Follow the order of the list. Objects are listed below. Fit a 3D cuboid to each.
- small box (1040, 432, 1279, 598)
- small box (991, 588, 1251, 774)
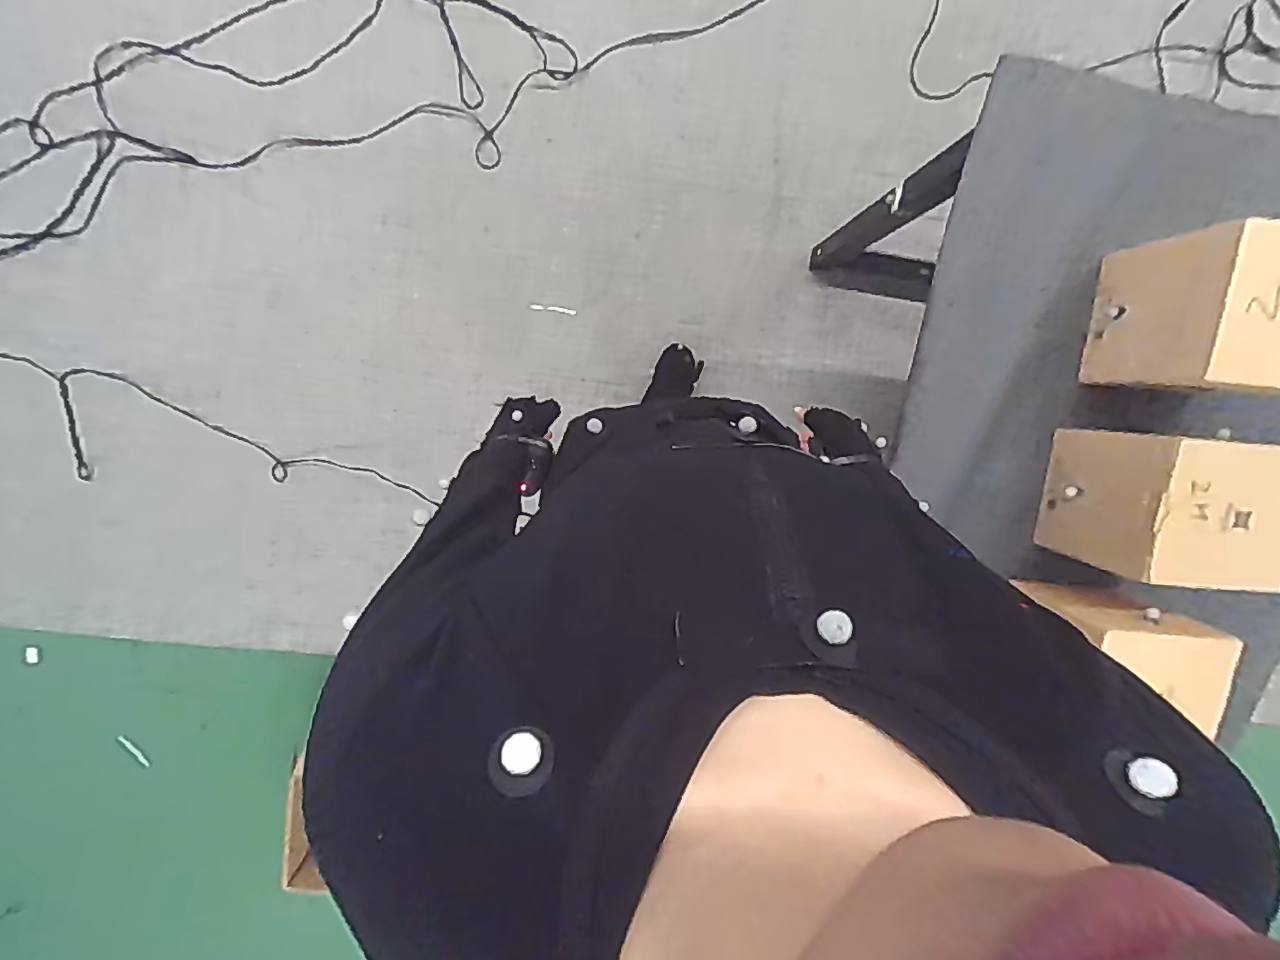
[{"bbox_3d":[0.654,0.033,0.669,0.179,0.176,0.168,5,99,-3],"label":"small box"},{"bbox_3d":[0.603,0.249,0.705,0.179,0.176,0.168,5,99,-4],"label":"small box"}]
